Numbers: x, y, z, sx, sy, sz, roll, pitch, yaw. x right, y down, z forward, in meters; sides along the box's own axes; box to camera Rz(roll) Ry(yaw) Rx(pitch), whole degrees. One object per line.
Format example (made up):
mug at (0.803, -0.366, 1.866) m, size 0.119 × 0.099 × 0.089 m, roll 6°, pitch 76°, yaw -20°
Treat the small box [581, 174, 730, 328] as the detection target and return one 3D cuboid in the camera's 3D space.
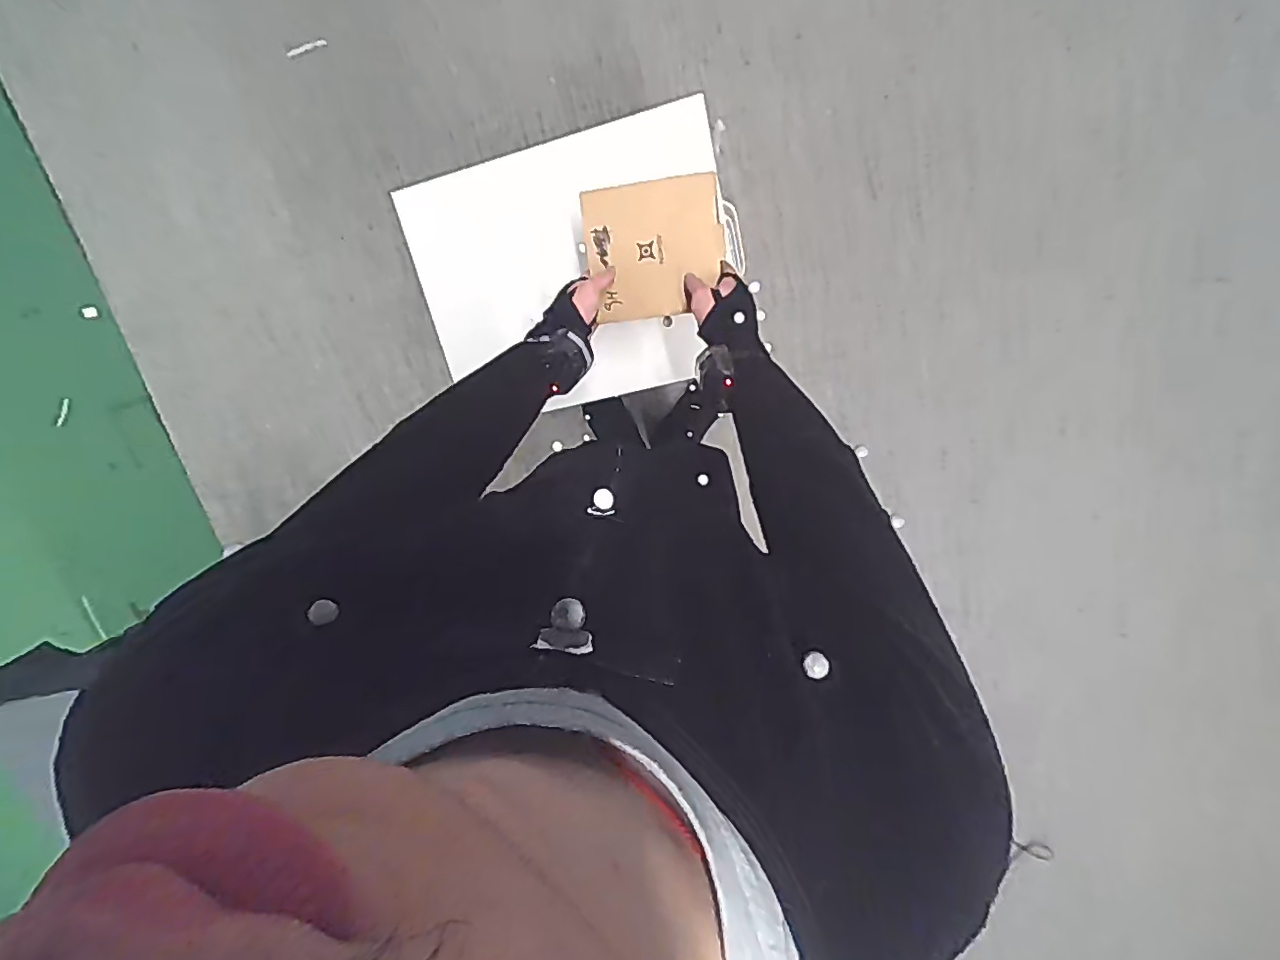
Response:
small box at (0.025, -0.308, 0.755) m, size 0.179 × 0.176 × 0.168 m, roll -5°, pitch 106°, yaw 5°
